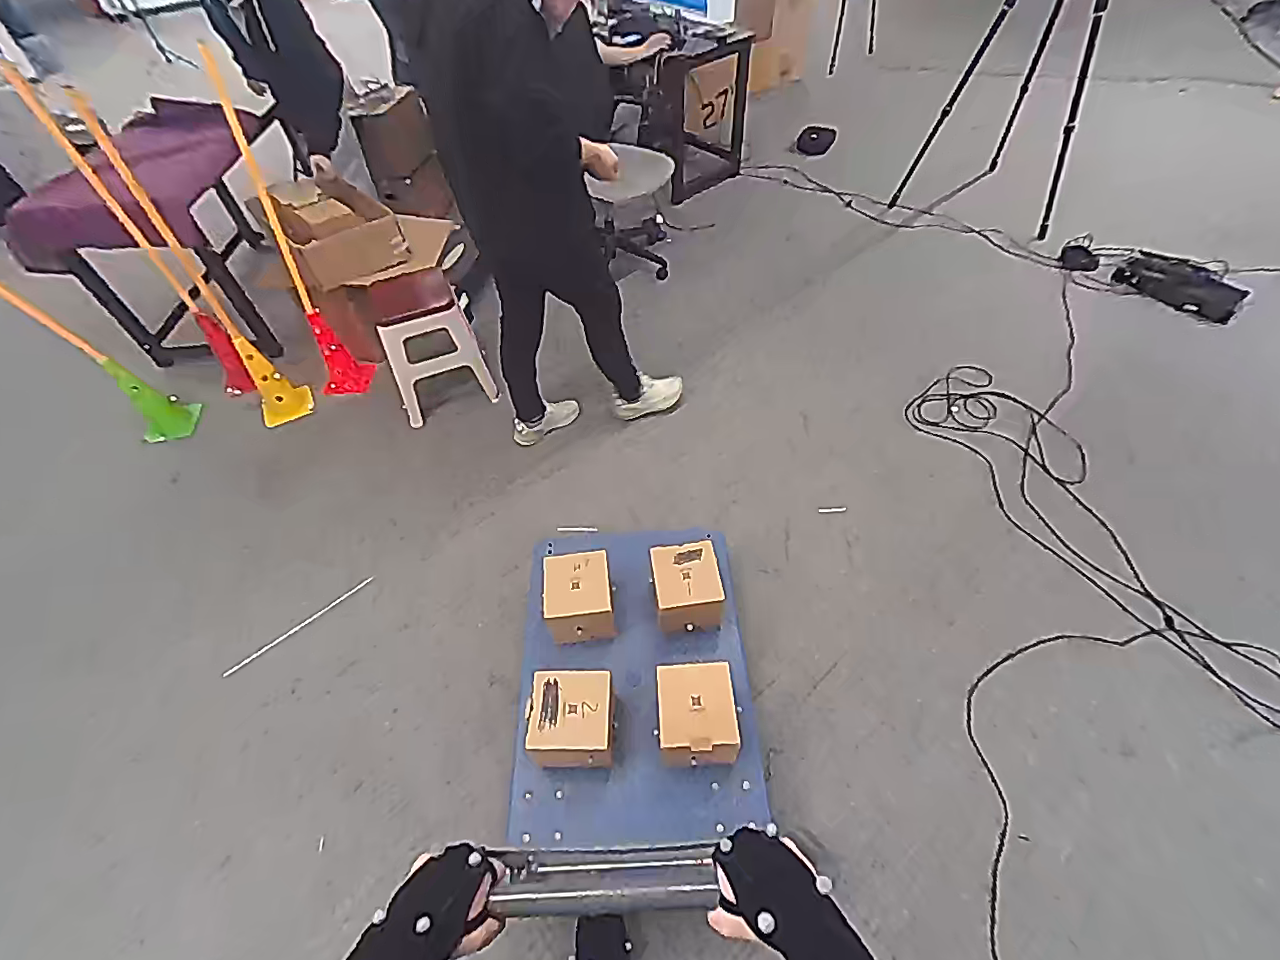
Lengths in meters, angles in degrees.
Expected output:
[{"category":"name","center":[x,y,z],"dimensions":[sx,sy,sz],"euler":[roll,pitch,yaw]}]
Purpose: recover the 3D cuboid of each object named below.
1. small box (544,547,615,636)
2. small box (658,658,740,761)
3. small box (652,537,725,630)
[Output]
[{"category":"small box","center":[-0.157,0.299,1.423],"dimensions":[0.168,0.176,0.179],"euler":[-5,52,-3]},{"category":"small box","center":[0.126,0.525,1.233],"dimensions":[0.168,0.176,0.179],"euler":[-3,52,0]},{"category":"small box","center":[0.122,0.276,1.427],"dimensions":[0.168,0.176,0.179],"euler":[-7,53,-2]}]
